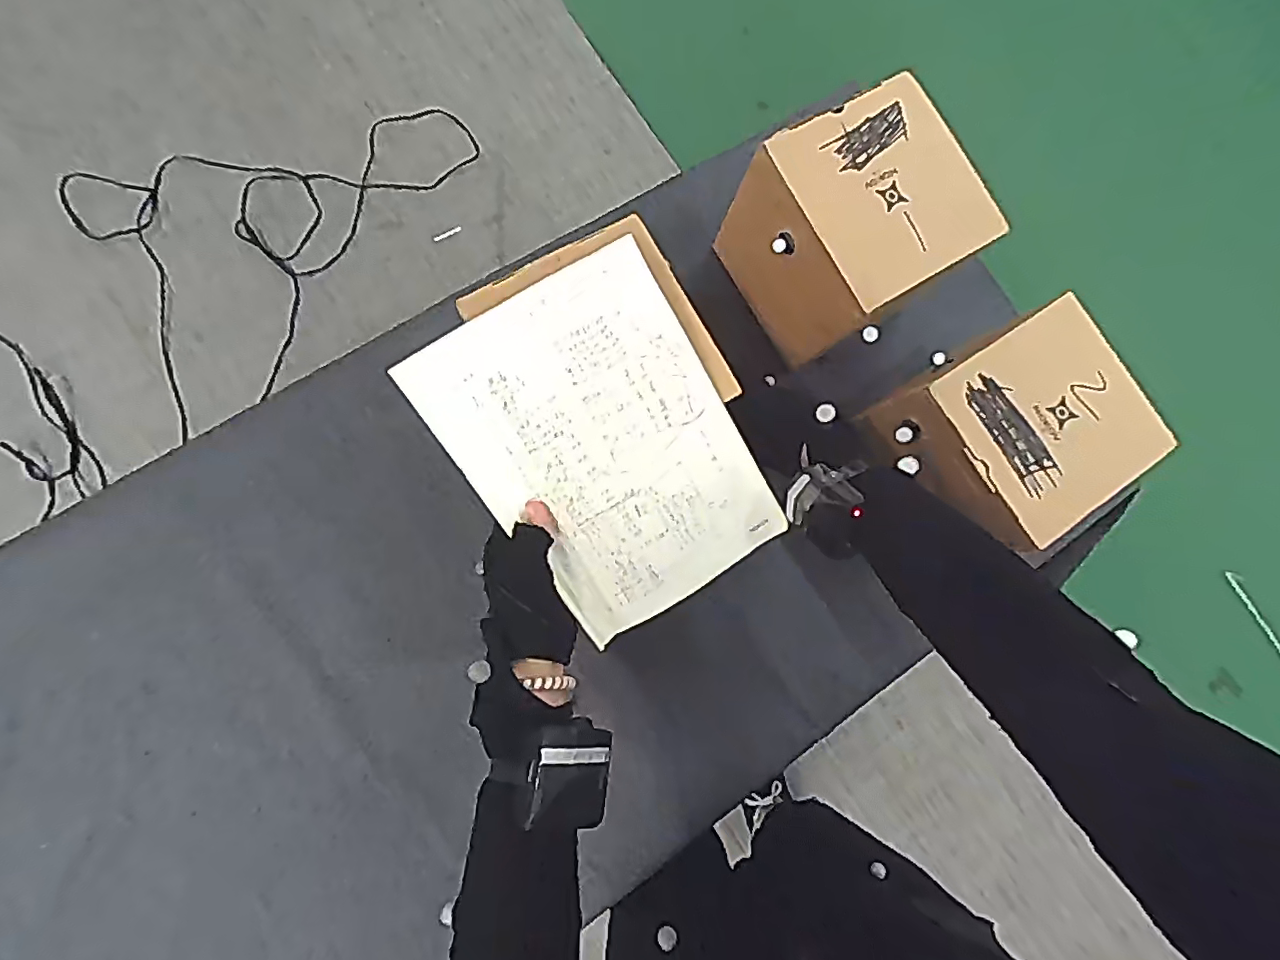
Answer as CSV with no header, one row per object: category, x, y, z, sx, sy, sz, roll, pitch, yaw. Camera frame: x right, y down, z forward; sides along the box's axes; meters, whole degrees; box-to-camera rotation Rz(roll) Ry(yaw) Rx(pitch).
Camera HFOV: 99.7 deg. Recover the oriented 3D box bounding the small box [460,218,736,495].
small box,-0.039,-0.096,0.511,0.168,0.176,0.179,-30,87,-9
